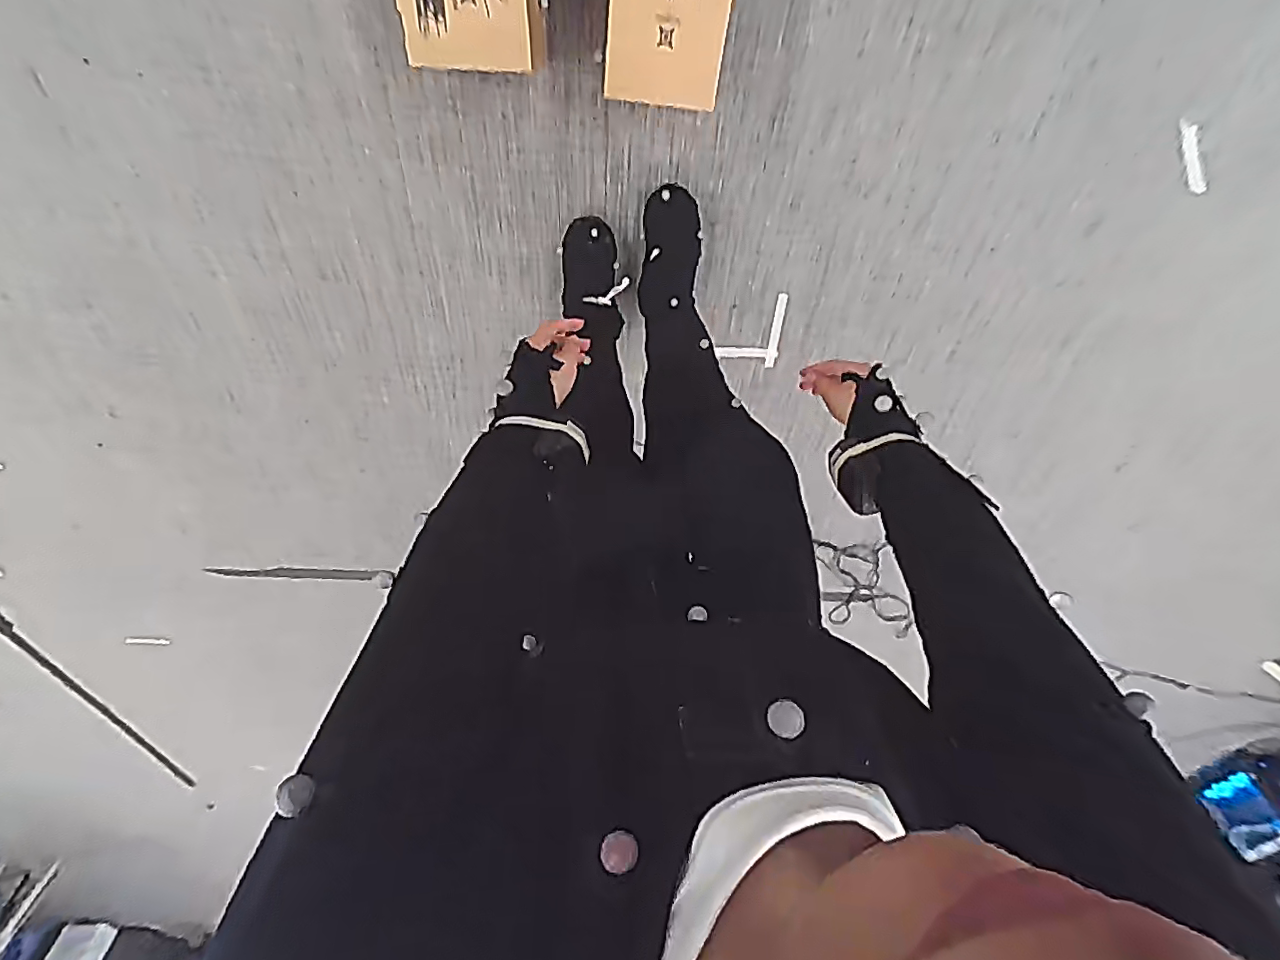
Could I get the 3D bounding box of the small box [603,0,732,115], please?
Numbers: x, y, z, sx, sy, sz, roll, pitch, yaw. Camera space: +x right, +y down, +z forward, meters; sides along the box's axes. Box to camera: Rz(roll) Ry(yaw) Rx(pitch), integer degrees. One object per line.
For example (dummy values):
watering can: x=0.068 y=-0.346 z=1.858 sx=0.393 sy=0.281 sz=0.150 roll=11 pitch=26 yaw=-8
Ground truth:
small box: x=0.036 y=-0.671 z=0.806 sx=0.168 sy=0.176 sz=0.179 roll=4 pitch=130 yaw=-6
